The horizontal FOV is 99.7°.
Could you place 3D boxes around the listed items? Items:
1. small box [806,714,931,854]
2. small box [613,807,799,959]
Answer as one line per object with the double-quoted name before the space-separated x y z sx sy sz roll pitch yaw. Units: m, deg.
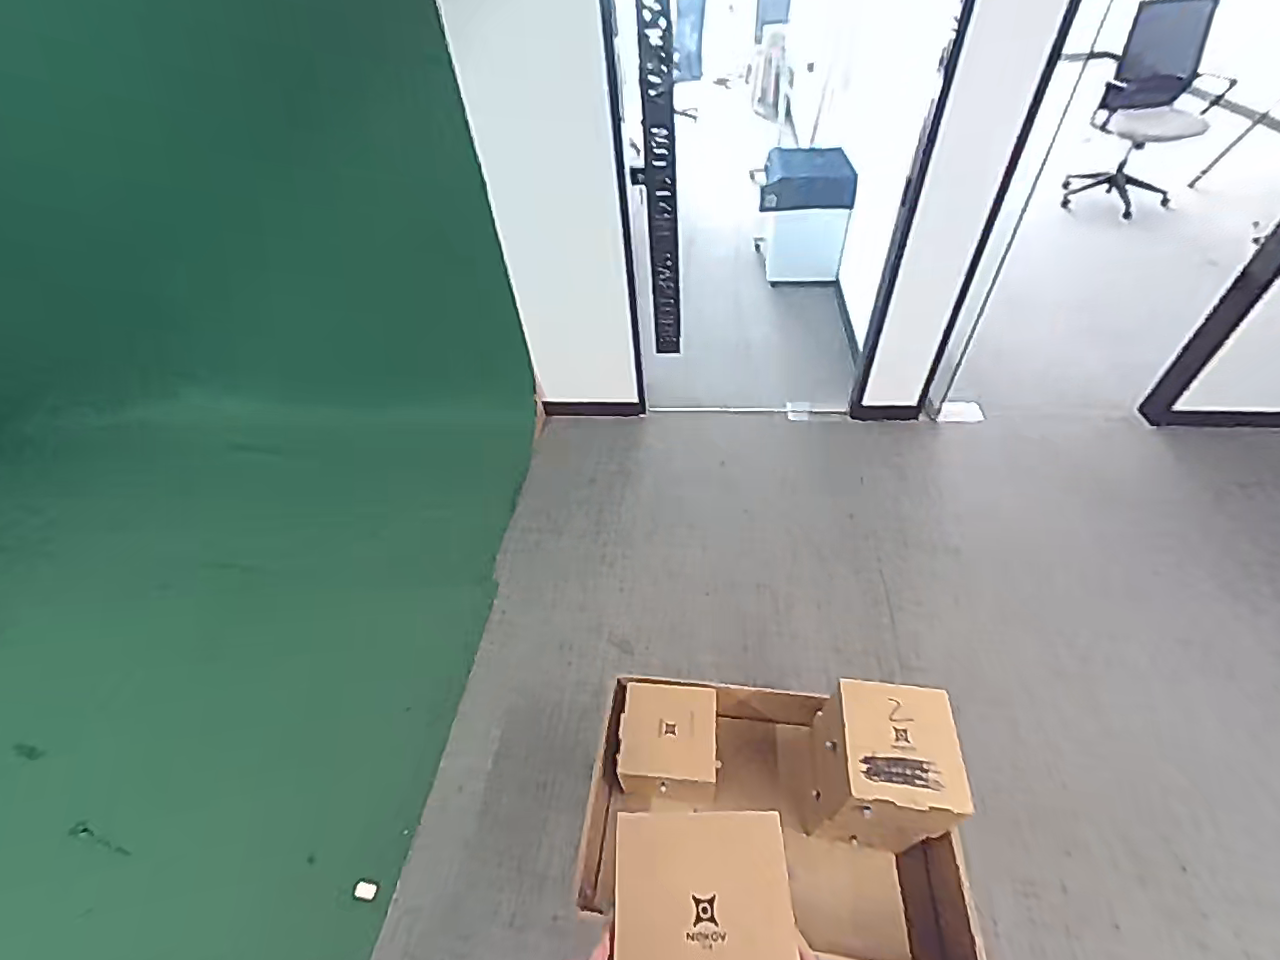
"small box" 0.402 0.556 0.988 0.168 0.176 0.179 4 48 8
"small box" 0.060 0.449 0.550 0.168 0.176 0.179 -2 51 2
